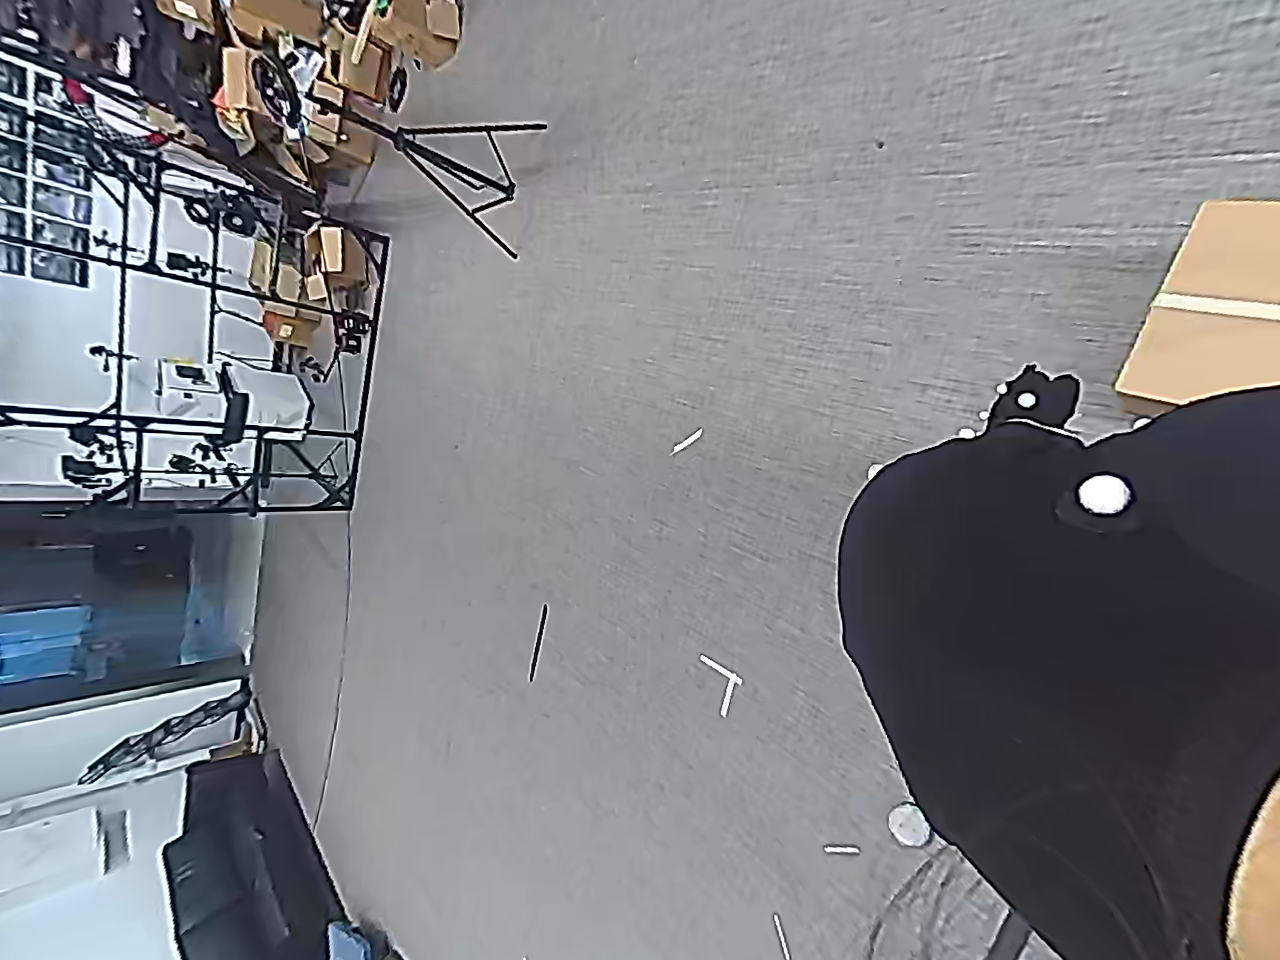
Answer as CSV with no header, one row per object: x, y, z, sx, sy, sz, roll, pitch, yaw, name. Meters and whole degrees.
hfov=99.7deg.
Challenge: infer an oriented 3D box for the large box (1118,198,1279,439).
1.090,-0.235,0.878,0.408,0.320,0.320,27,108,39,large box
